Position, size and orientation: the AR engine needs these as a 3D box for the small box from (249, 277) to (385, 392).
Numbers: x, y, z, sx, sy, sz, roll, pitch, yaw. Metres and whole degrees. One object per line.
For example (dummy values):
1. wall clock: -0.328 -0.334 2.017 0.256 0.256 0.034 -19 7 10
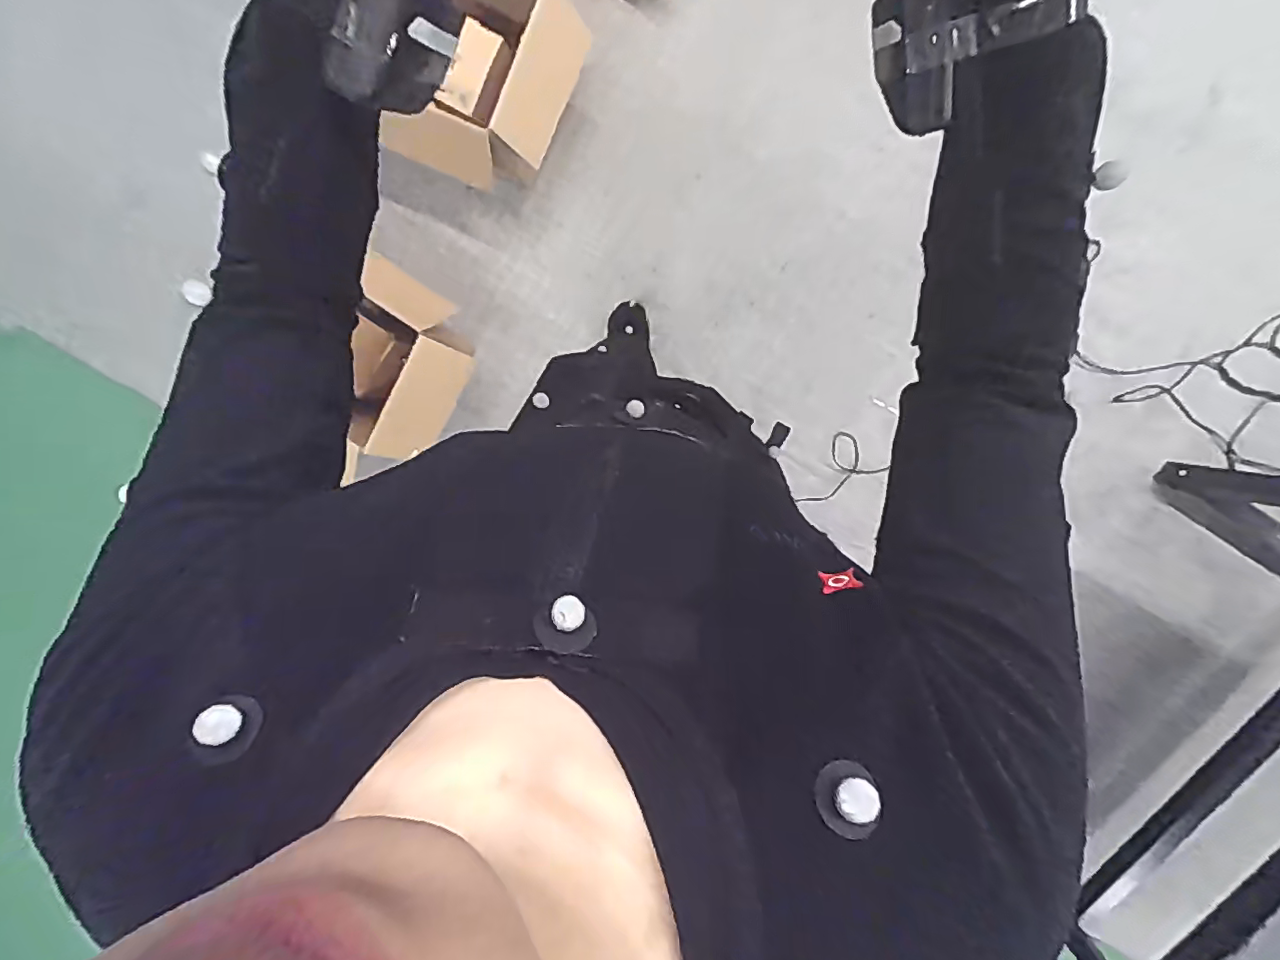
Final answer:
1. small box: -0.703 -0.314 1.202 0.168 0.176 0.179 34 98 -1
